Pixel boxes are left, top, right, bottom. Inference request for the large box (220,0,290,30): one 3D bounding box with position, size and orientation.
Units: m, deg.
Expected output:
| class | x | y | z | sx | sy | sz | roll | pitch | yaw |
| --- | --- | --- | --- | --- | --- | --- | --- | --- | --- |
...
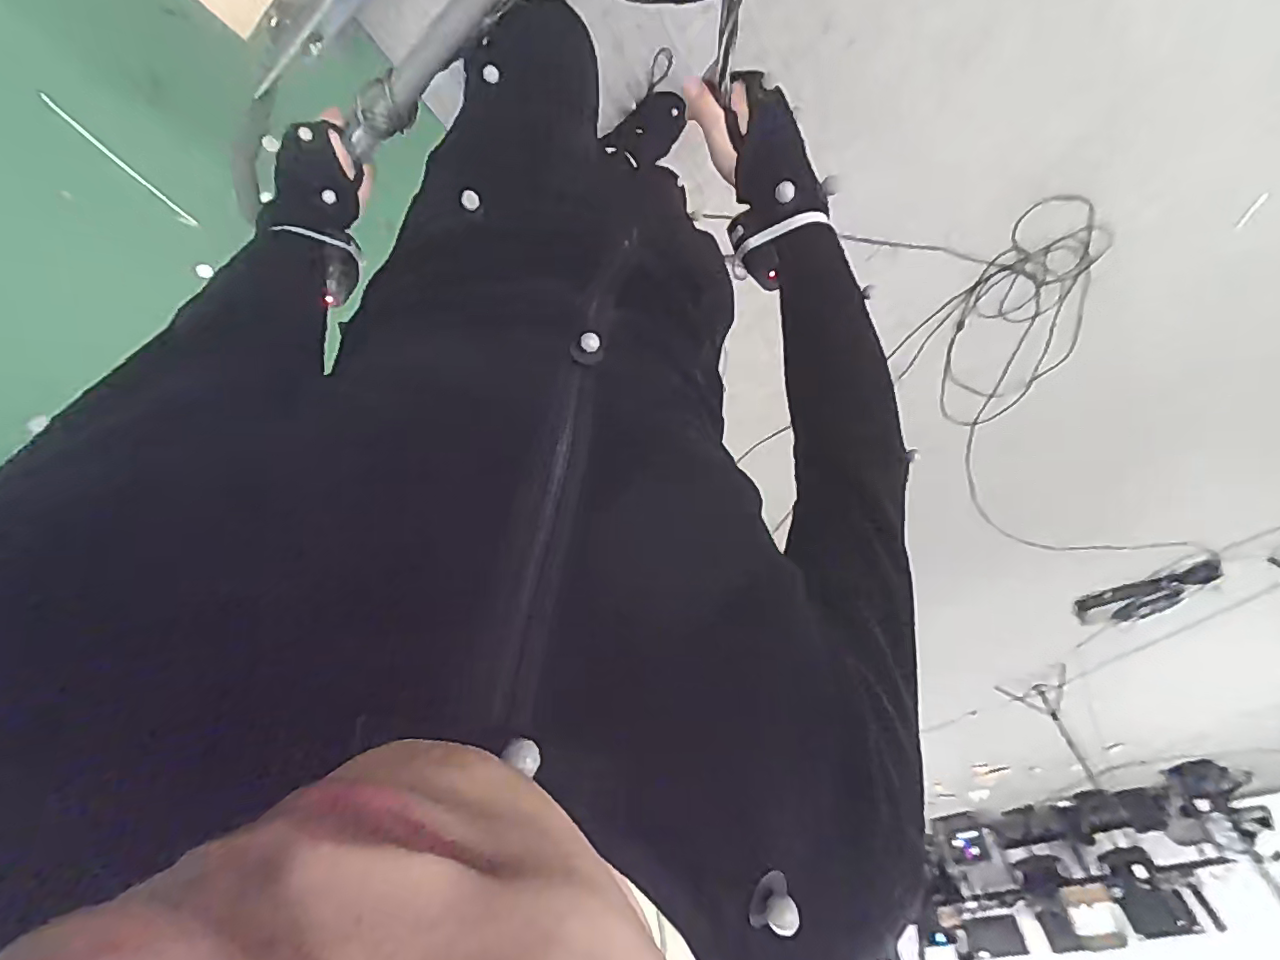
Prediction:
| class | x | y | z | sx | sy | sz | roll | pitch | yaw |
| --- | --- | --- | --- | --- | --- | --- | --- | --- | --- |
| large box | -0.564 | -0.897 | 0.653 | 0.320 | 0.320 | 0.408 | -31 | 141 | 23 |
